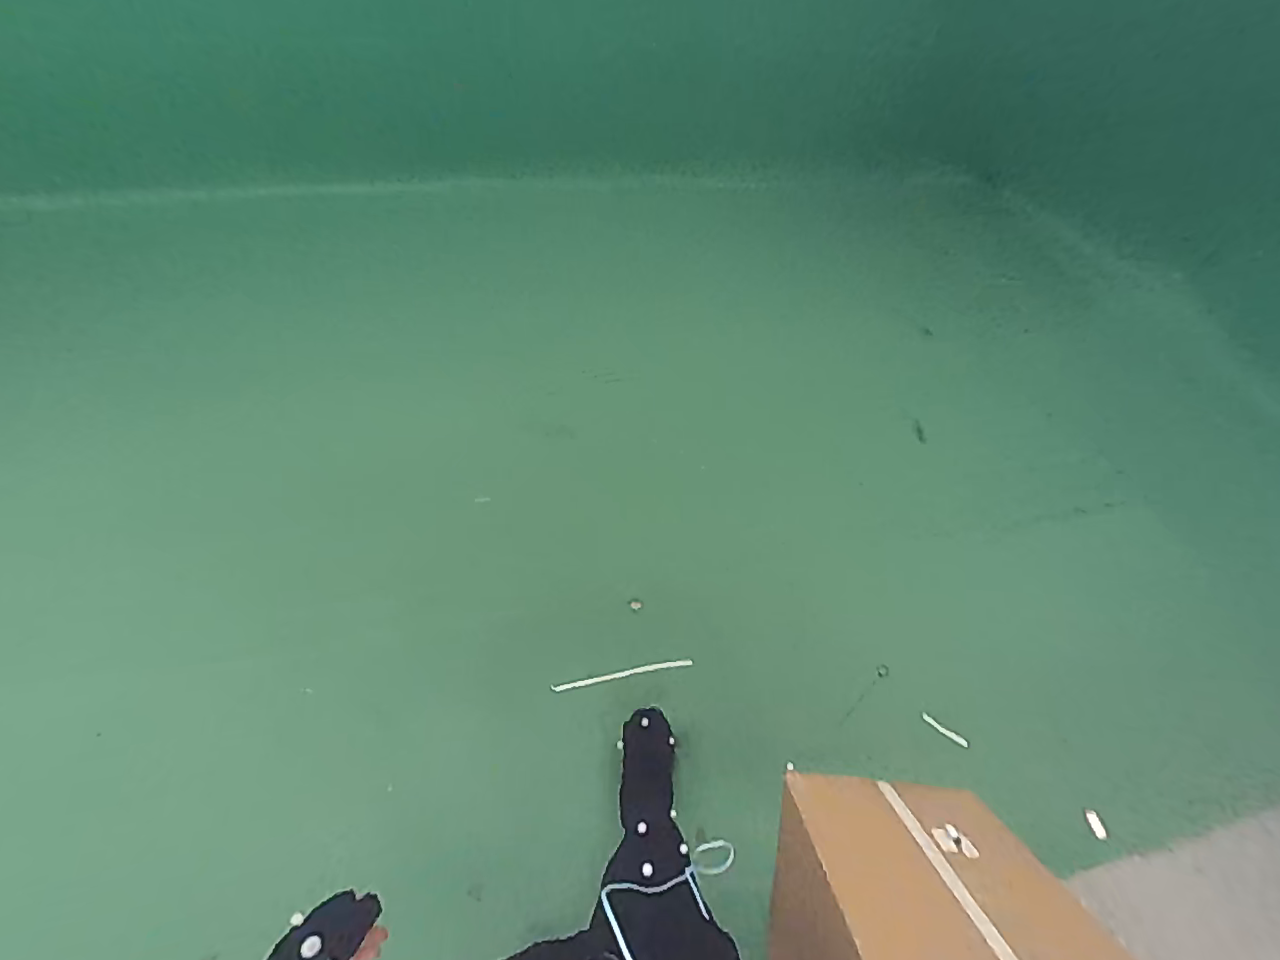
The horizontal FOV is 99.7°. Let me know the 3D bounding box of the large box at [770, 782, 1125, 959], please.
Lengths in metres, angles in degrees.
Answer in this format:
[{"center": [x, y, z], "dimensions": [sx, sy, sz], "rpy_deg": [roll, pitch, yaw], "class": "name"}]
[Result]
[{"center": [0.376, 0.667, 0.698], "dimensions": [0.320, 0.408, 0.320], "rpy_deg": [7, 91, 1], "class": "large box"}]
